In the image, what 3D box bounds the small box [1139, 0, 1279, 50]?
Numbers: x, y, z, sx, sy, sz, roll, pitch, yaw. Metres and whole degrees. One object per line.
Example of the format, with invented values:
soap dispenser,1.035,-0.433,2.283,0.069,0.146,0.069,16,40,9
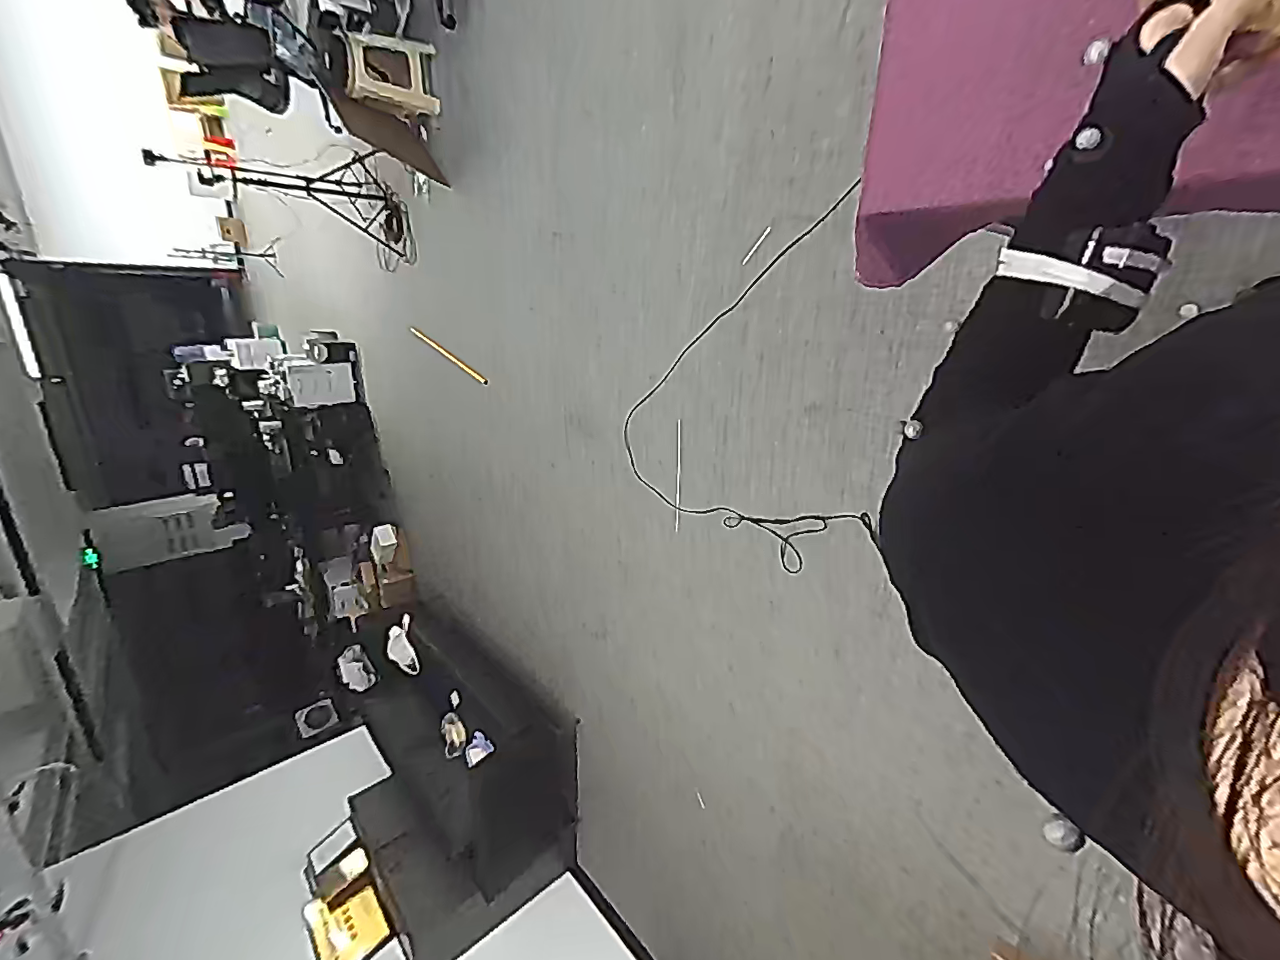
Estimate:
small box,0.456,-0.388,0.331,0.168,0.176,0.179,36,127,32
